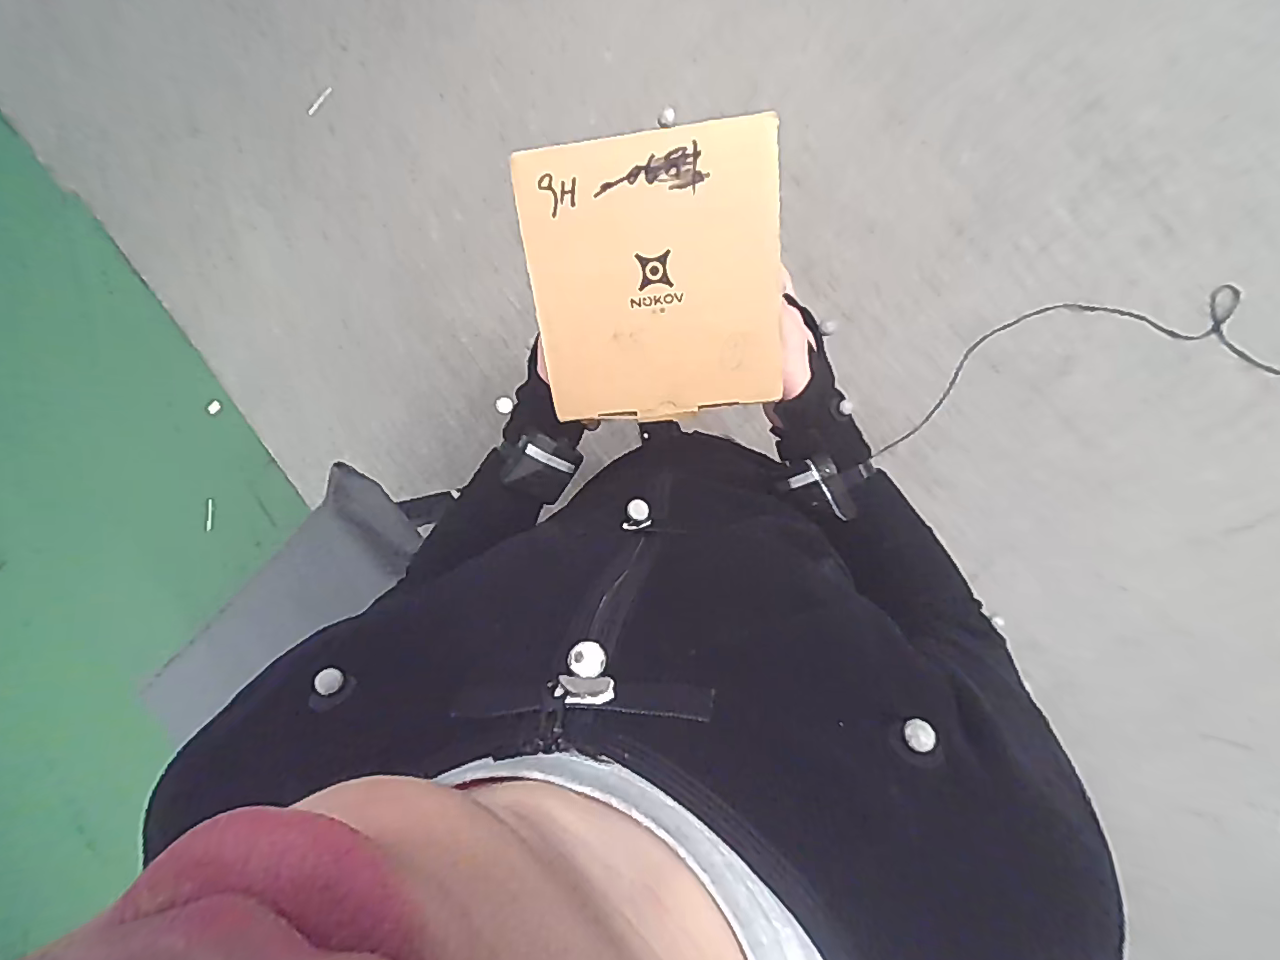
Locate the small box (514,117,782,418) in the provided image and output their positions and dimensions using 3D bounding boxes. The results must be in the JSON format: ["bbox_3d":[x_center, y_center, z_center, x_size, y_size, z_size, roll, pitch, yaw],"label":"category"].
[{"bbox_3d":[0.018,-0.162,0.431,0.168,0.176,0.179,-4,113,6],"label":"small box"}]
